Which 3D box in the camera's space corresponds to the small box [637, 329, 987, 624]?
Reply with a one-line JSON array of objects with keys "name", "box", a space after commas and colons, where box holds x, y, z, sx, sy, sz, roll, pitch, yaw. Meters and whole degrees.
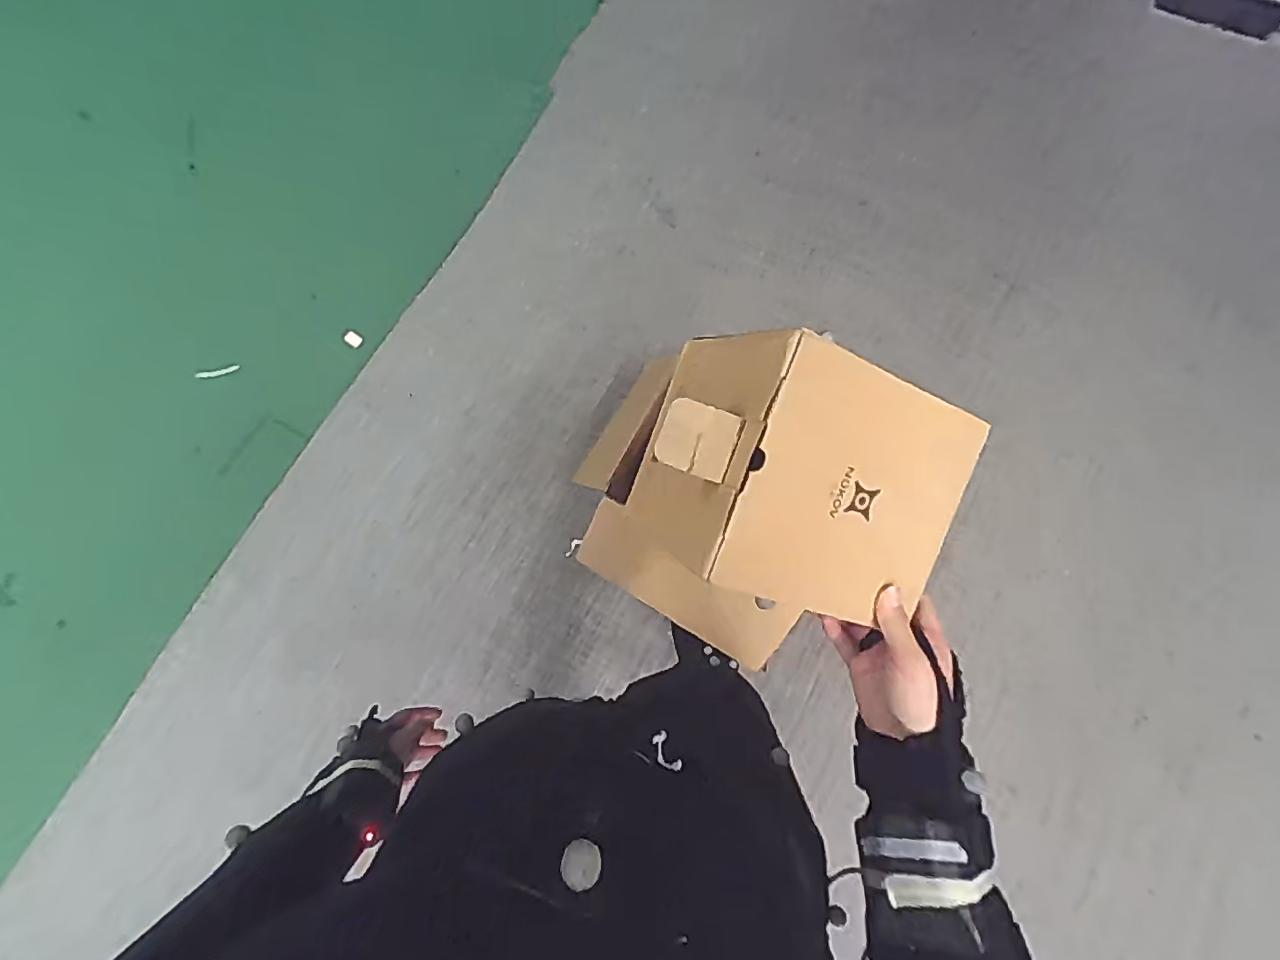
[{"name": "small box", "box": [0.122, -0.008, 0.439, 0.179, 0.176, 0.168, 19, 93, -21]}]
